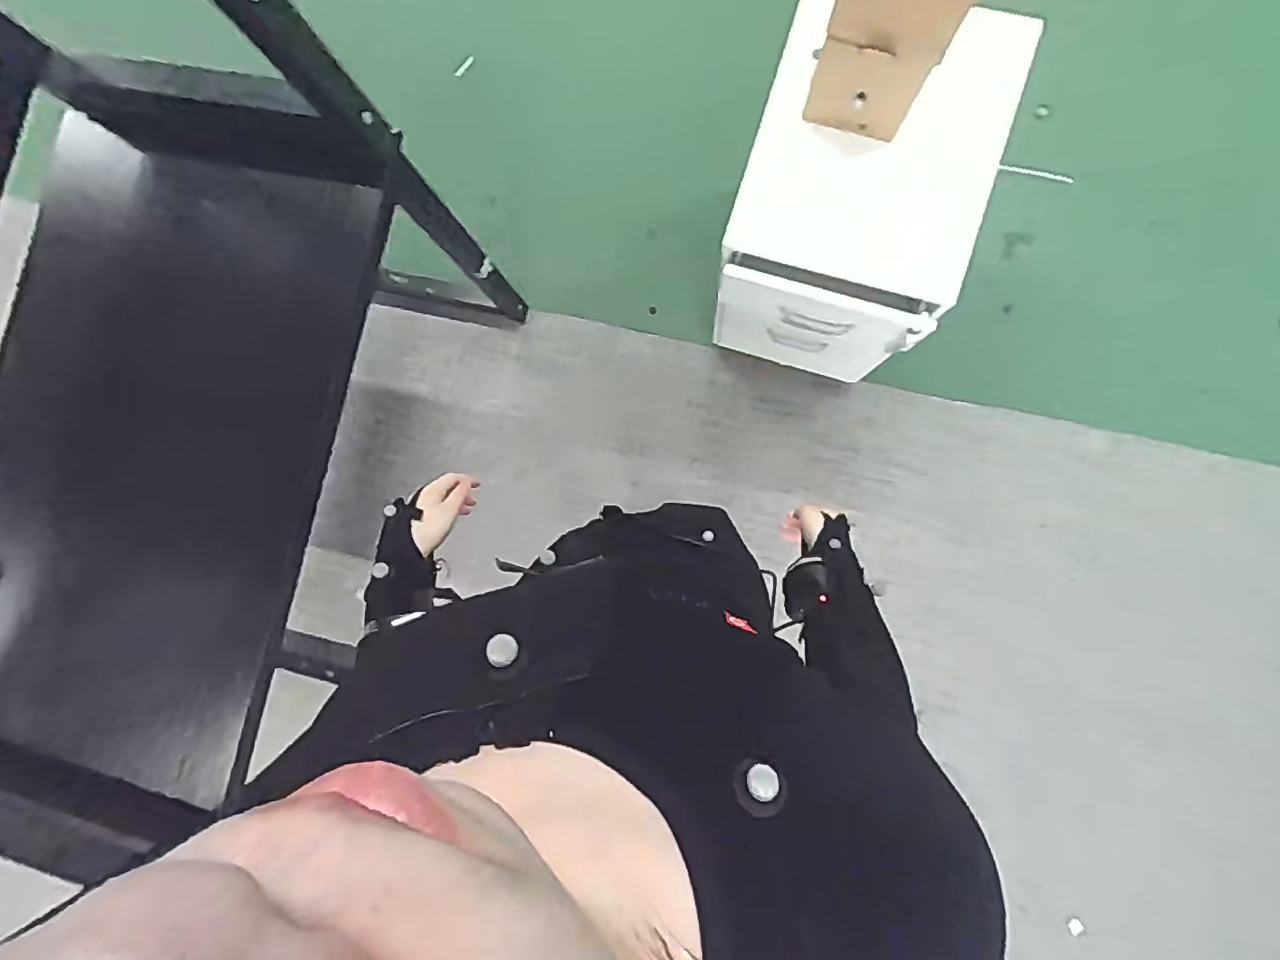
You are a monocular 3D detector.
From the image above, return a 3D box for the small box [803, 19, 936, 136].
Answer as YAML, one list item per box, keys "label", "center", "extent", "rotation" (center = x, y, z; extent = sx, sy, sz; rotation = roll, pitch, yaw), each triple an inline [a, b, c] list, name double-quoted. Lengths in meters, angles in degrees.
- label: "small box"
  center: [0.365, -0.678, 0.835]
  extent: [0.168, 0.176, 0.179]
  rotation: [18, 89, 6]

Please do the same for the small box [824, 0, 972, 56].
- label: "small box"
  center: [0.353, -0.682, 0.673]
  extent: [0.179, 0.176, 0.168]
  rotation: [21, 89, 5]
